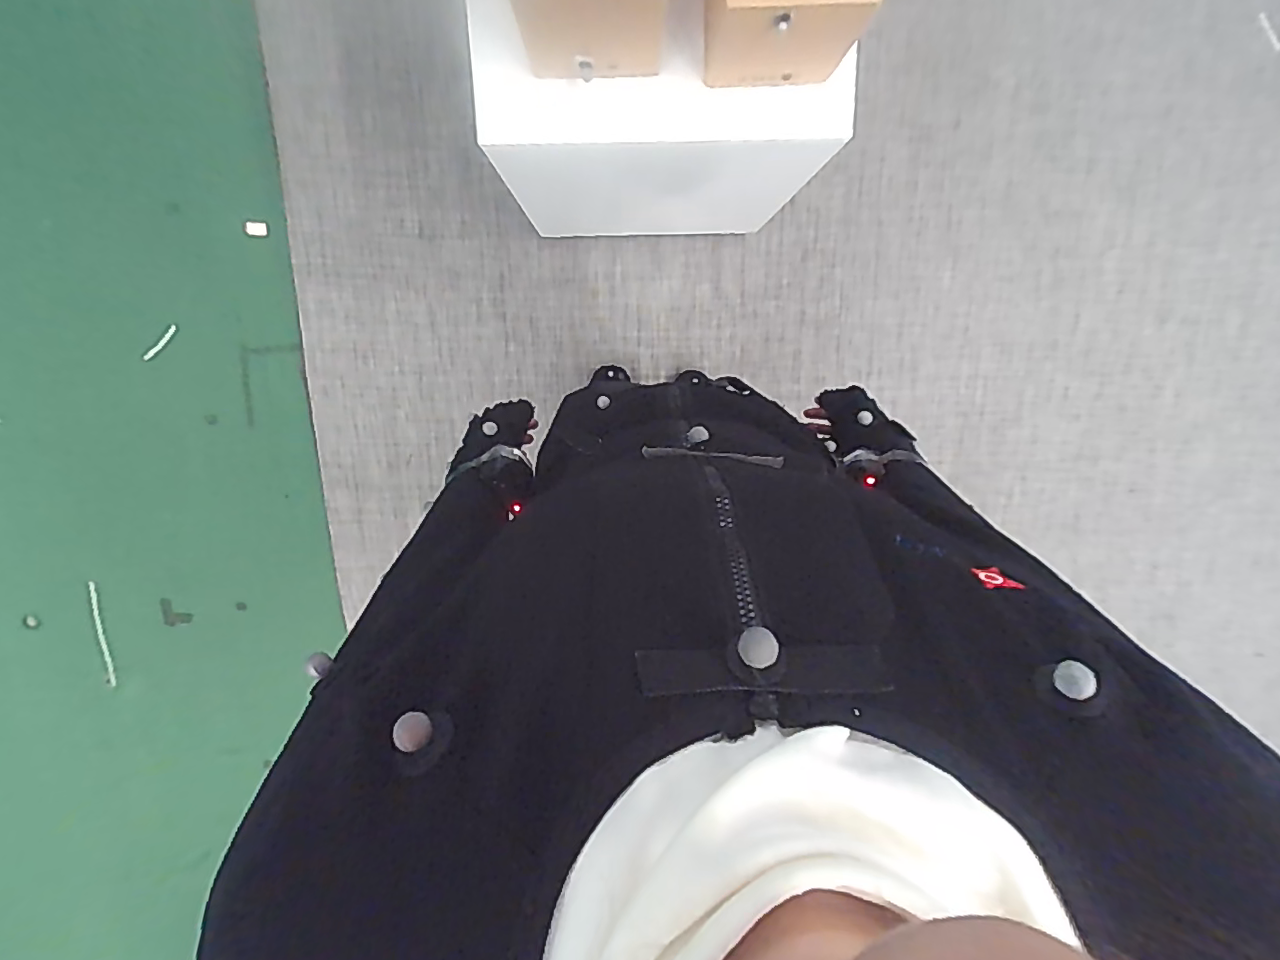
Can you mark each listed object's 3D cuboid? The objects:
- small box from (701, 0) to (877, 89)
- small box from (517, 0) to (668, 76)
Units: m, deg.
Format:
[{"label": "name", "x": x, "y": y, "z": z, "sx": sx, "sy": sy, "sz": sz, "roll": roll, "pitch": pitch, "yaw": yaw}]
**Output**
[{"label": "small box", "x": 0.162, "y": -0.593, "z": 0.625, "sx": 0.168, "sy": 0.176, "sz": 0.179, "roll": -2, "pitch": 101, "yaw": -1}, {"label": "small box", "x": -0.057, "y": -0.596, "z": 0.605, "sx": 0.168, "sy": 0.176, "sz": 0.179, "roll": -4, "pitch": 103, "yaw": 0}]
